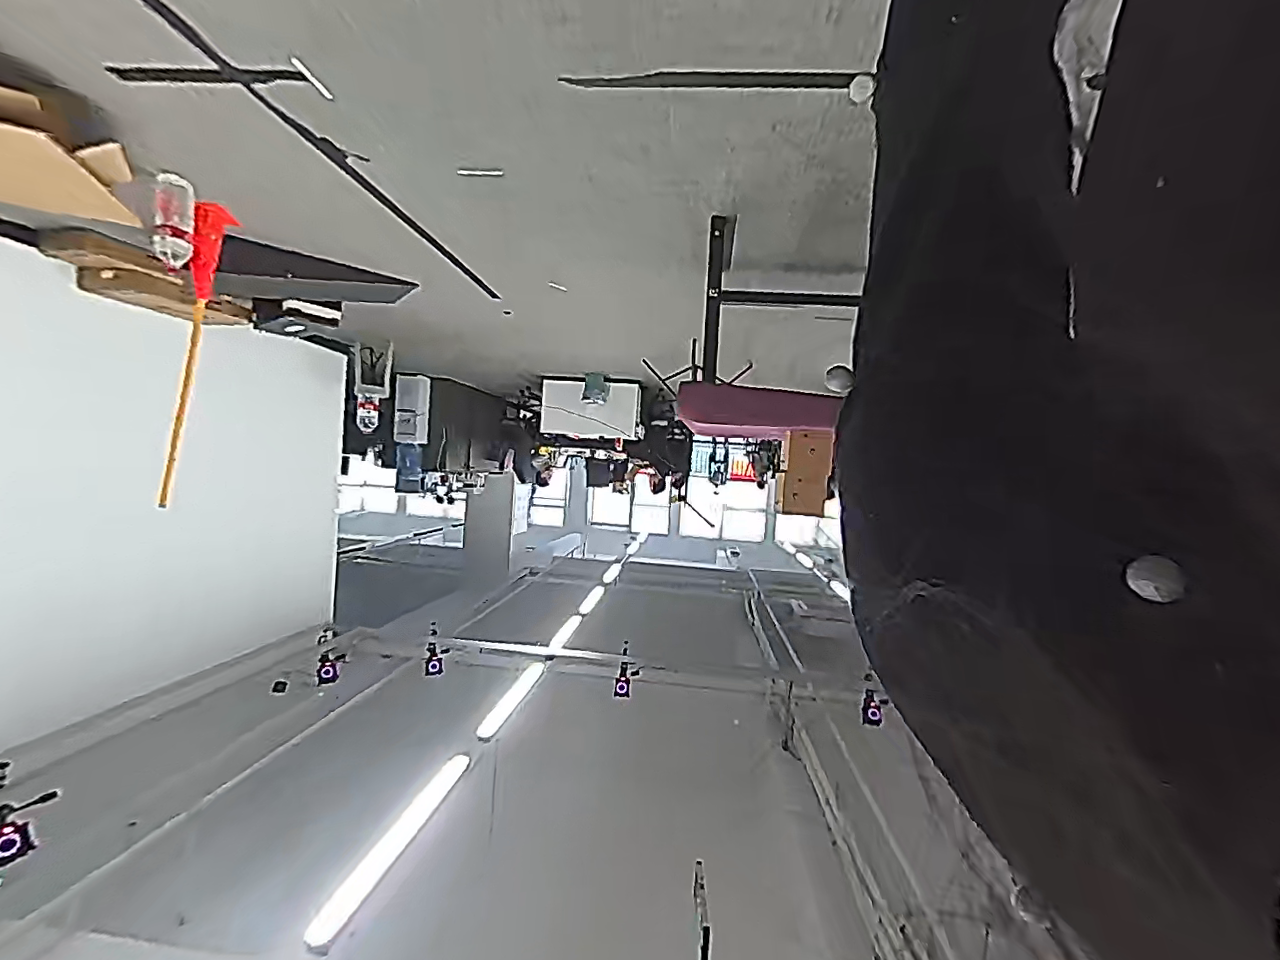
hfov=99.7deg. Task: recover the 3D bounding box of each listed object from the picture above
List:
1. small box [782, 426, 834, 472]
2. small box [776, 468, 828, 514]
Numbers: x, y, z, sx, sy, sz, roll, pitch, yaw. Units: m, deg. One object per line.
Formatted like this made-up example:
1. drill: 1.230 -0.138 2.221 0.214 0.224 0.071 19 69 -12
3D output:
1. small box: 0.660 -0.121 2.128 0.168 0.176 0.179 4 -178 5
2. small box: 0.639 0.040 2.138 0.168 0.176 0.179 5 -177 4
